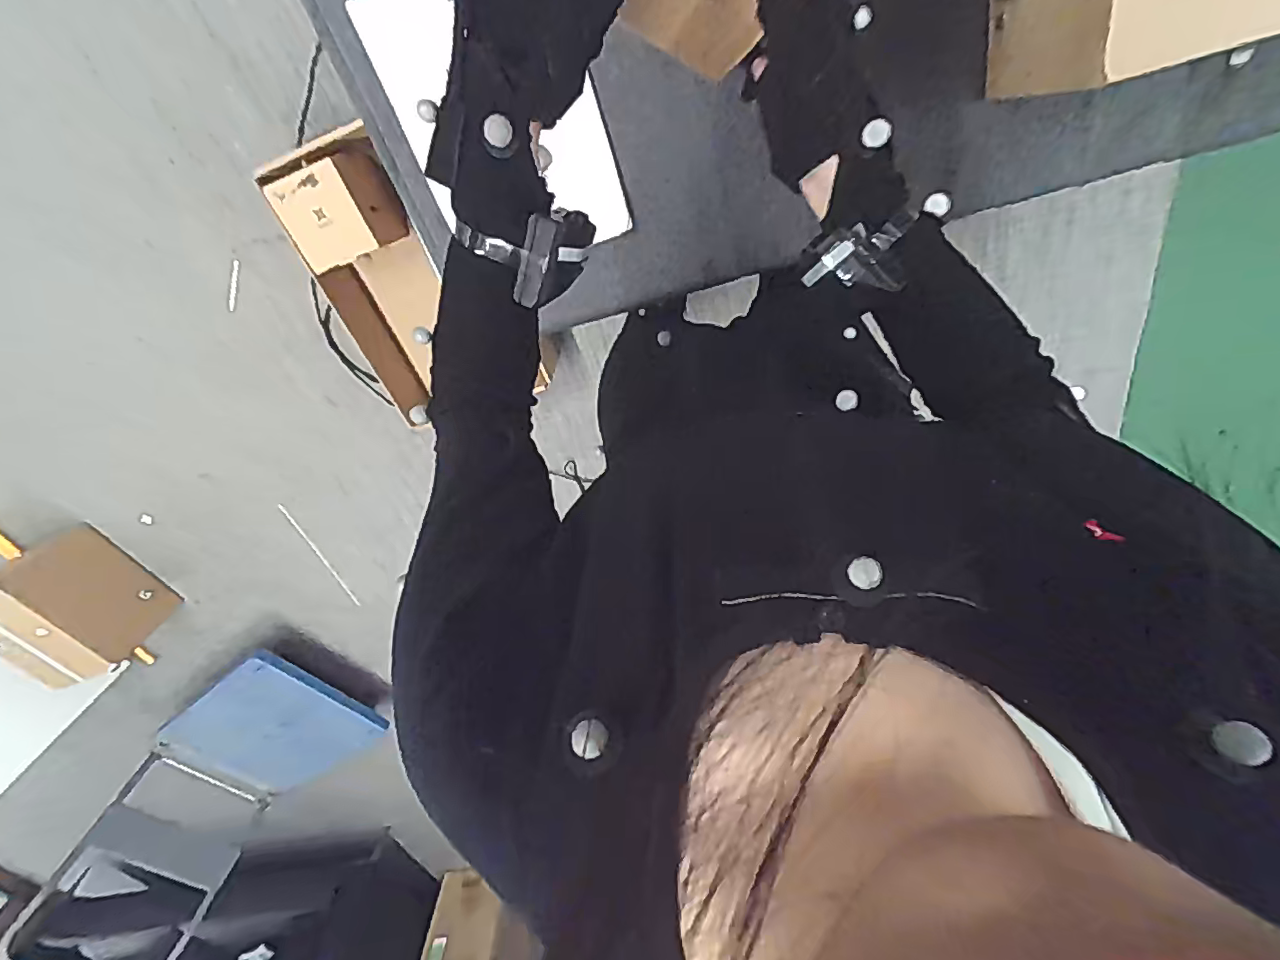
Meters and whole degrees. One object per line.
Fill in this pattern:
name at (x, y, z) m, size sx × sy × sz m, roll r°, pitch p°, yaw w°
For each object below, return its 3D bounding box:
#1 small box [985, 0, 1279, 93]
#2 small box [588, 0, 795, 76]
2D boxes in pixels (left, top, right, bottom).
small box at (0.404, -0.422, 0.413) m, size 0.179 × 0.176 × 0.168 m, roll -11°, pitch 120°, yaw 10°
small box at (0.034, -0.390, 0.293) m, size 0.168 × 0.176 × 0.179 m, roll -1°, pitch 169°, yaw -36°
